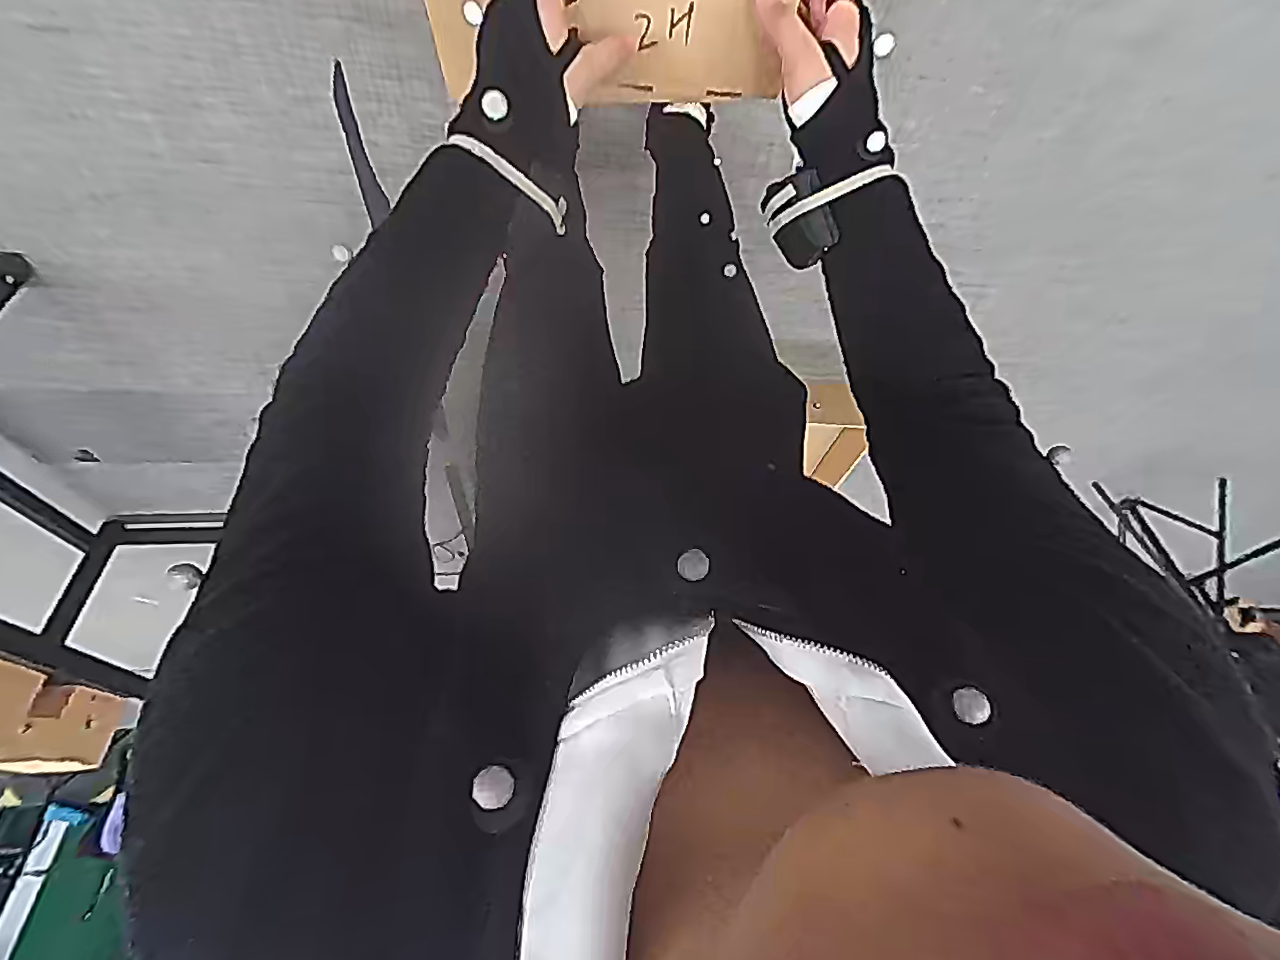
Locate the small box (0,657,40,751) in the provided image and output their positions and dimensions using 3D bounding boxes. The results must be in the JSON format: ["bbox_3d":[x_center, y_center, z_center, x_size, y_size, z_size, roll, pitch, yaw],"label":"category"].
[{"bbox_3d":[-1.434,0.460,1.119,0.168,0.176,0.179,-1,145,-6],"label":"small box"}]

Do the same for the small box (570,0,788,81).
[{"bbox_3d":[0.031,-0.447,0.427,0.168,0.176,0.179,3,138,-4],"label":"small box"}]

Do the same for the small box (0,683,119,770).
[{"bbox_3d":[-1.448,0.606,1.330,0.179,0.176,0.168,-4,146,-2],"label":"small box"}]
